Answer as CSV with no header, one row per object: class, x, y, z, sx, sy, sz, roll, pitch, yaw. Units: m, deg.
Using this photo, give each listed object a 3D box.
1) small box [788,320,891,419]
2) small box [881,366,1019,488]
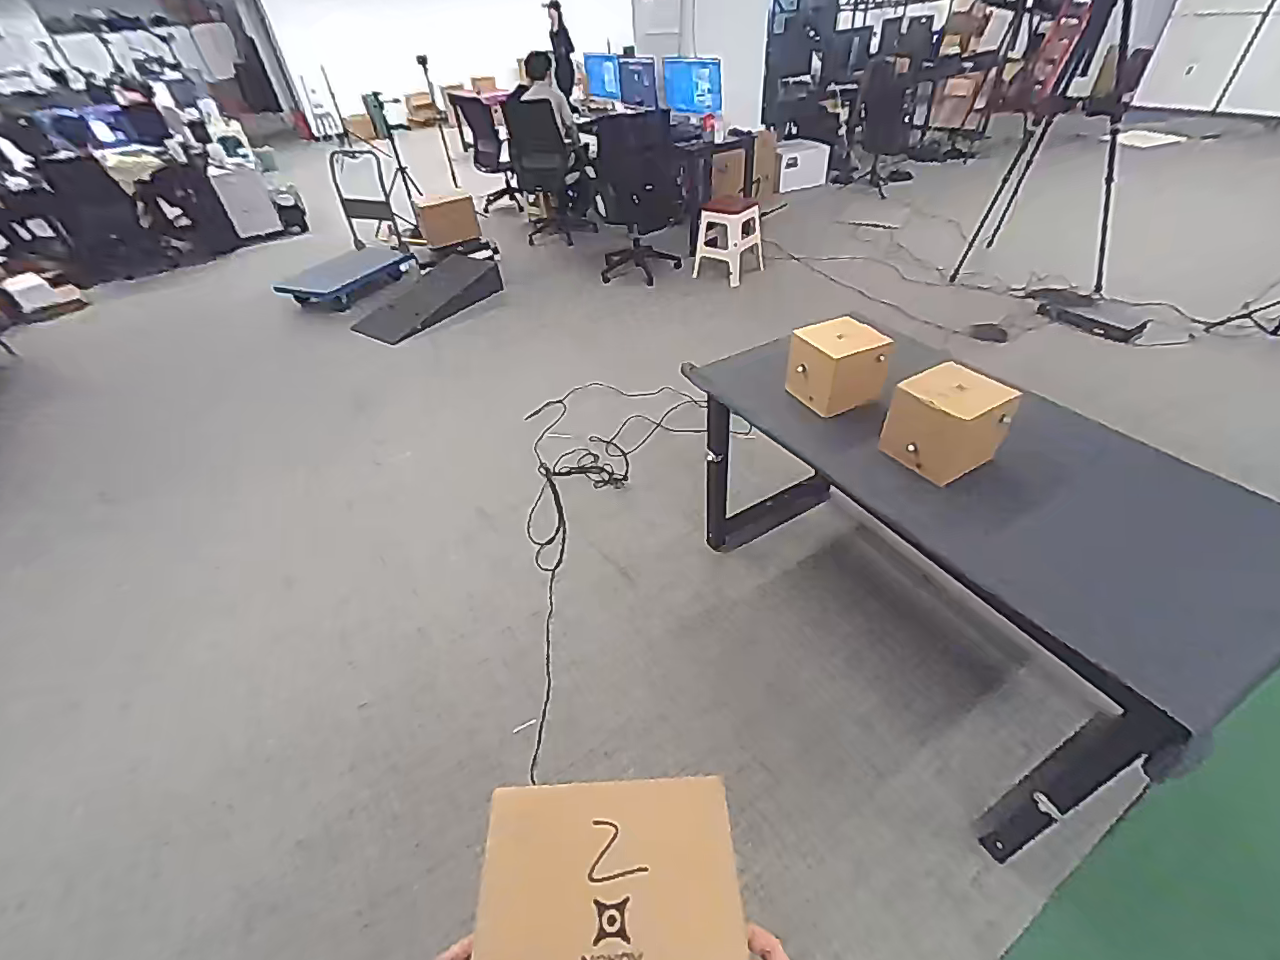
small box,0.486,-0.274,1.351,0.179,0.176,0.168,-19,43,-17
small box,0.646,-0.114,1.151,0.179,0.176,0.168,-23,44,-21
